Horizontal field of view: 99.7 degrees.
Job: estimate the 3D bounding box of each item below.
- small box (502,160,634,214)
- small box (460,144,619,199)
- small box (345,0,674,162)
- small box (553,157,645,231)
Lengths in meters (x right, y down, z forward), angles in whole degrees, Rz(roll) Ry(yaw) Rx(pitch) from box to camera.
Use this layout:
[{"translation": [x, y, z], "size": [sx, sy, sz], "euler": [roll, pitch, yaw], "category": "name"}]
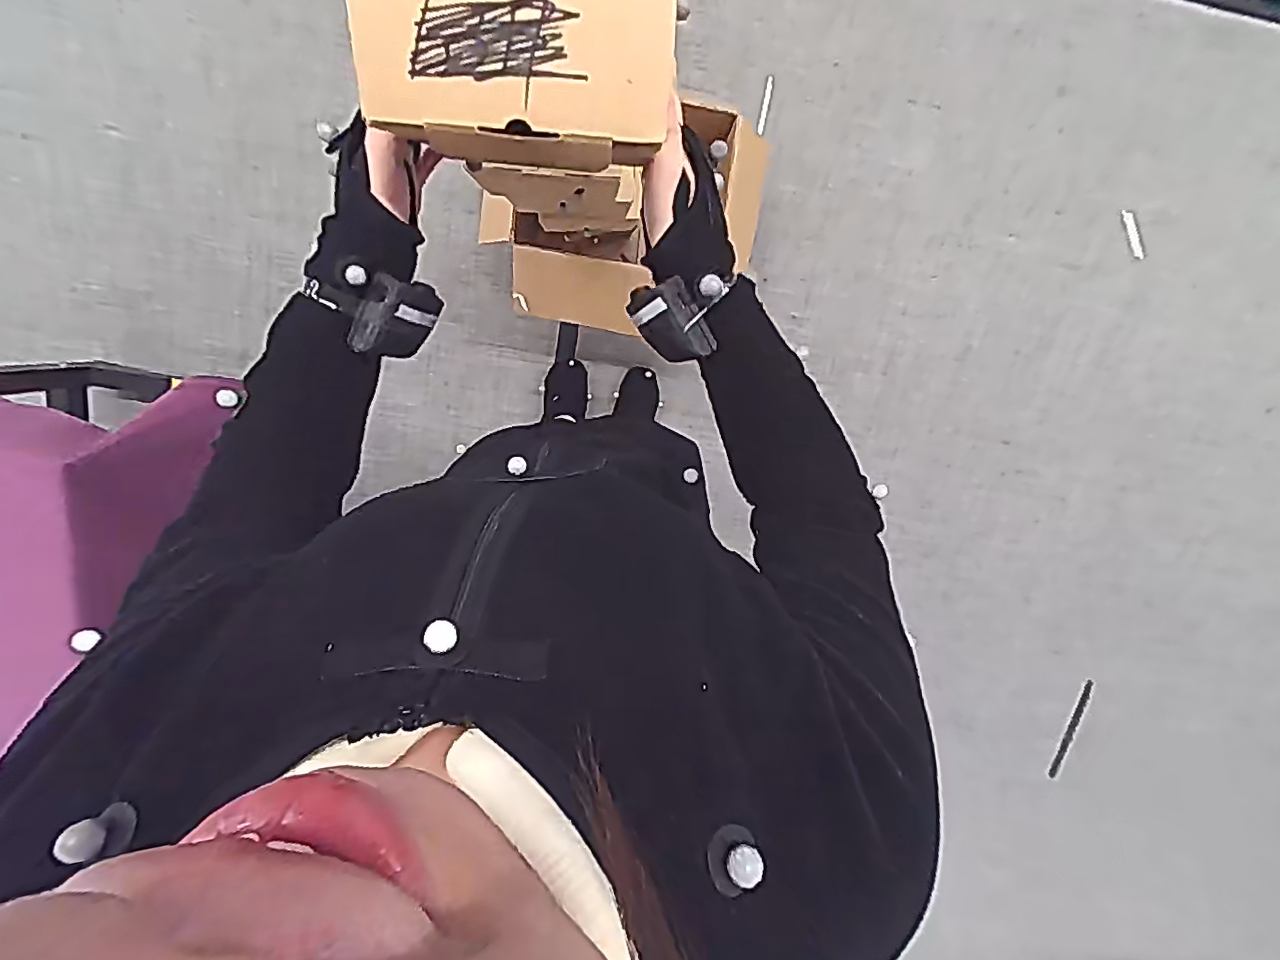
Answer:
[{"translation": [-0.099, -0.479, 0.761], "size": [0.179, 0.176, 0.168], "euler": [1, 110, -6], "category": "small box"}, {"translation": [-0.102, -0.426, 0.606], "size": [0.168, 0.176, 0.179], "euler": [2, 109, -7], "category": "small box"}, {"translation": [-0.066, -0.302, 0.327], "size": [0.168, 0.176, 0.179], "euler": [2, 116, -6], "category": "small box"}, {"translation": [-0.095, -0.603, 1.067], "size": [0.179, 0.176, 0.168], "euler": [-13, 109, -2], "category": "small box"}]
